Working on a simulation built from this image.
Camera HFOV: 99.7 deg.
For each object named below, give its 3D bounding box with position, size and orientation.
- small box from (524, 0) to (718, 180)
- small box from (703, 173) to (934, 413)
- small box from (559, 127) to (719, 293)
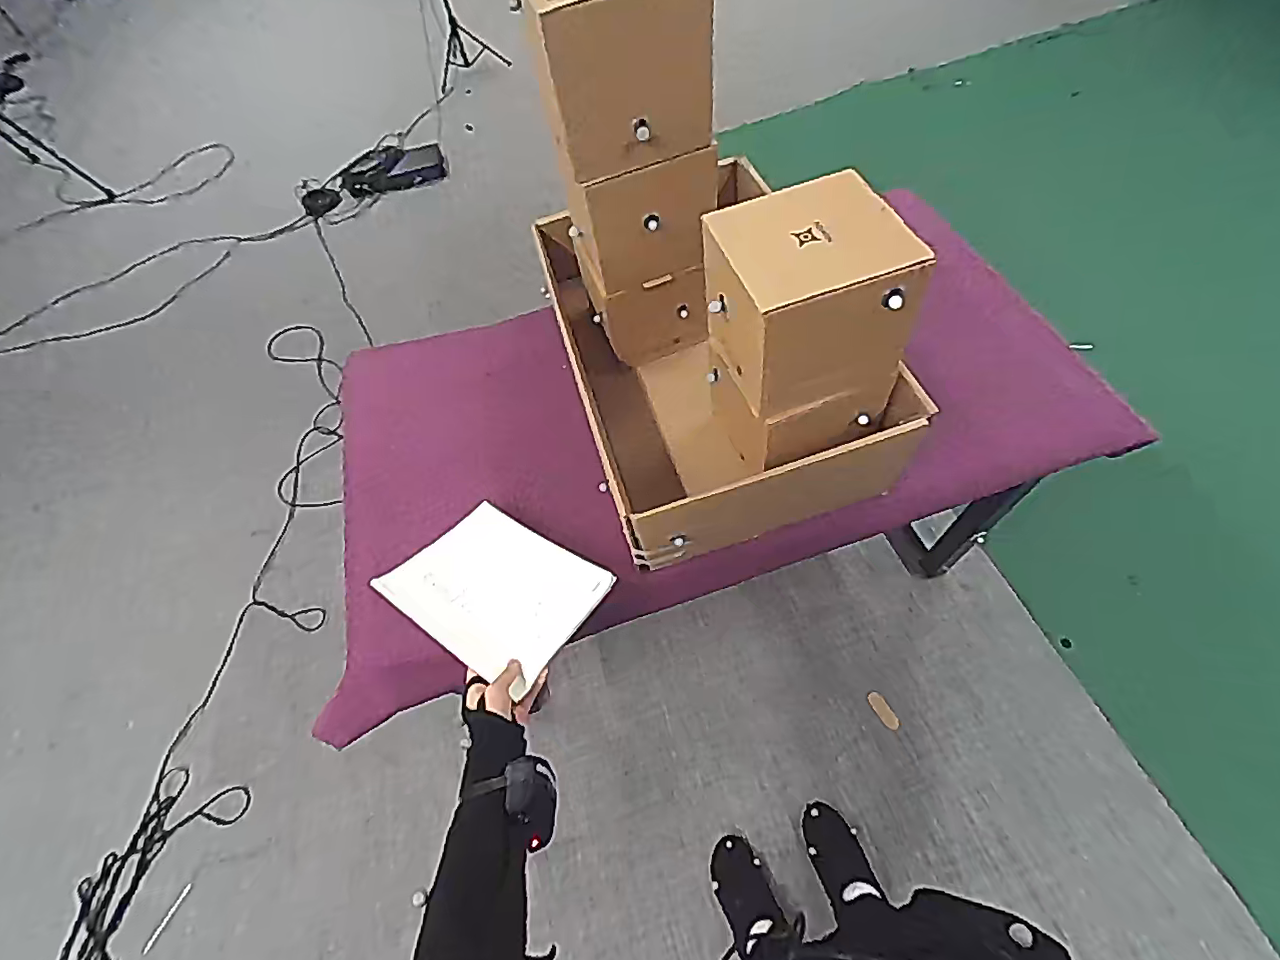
[{"bbox_3d":[-0.024,-0.479,0.611,0.179,0.176,0.168,-18,60,-4],"label":"small box"},{"bbox_3d":[0.182,-0.201,0.607,0.179,0.176,0.168,-18,58,-3],"label":"small box"},{"bbox_3d":[-0.002,-0.396,0.752,0.179,0.176,0.168,-20,60,-4],"label":"small box"}]
